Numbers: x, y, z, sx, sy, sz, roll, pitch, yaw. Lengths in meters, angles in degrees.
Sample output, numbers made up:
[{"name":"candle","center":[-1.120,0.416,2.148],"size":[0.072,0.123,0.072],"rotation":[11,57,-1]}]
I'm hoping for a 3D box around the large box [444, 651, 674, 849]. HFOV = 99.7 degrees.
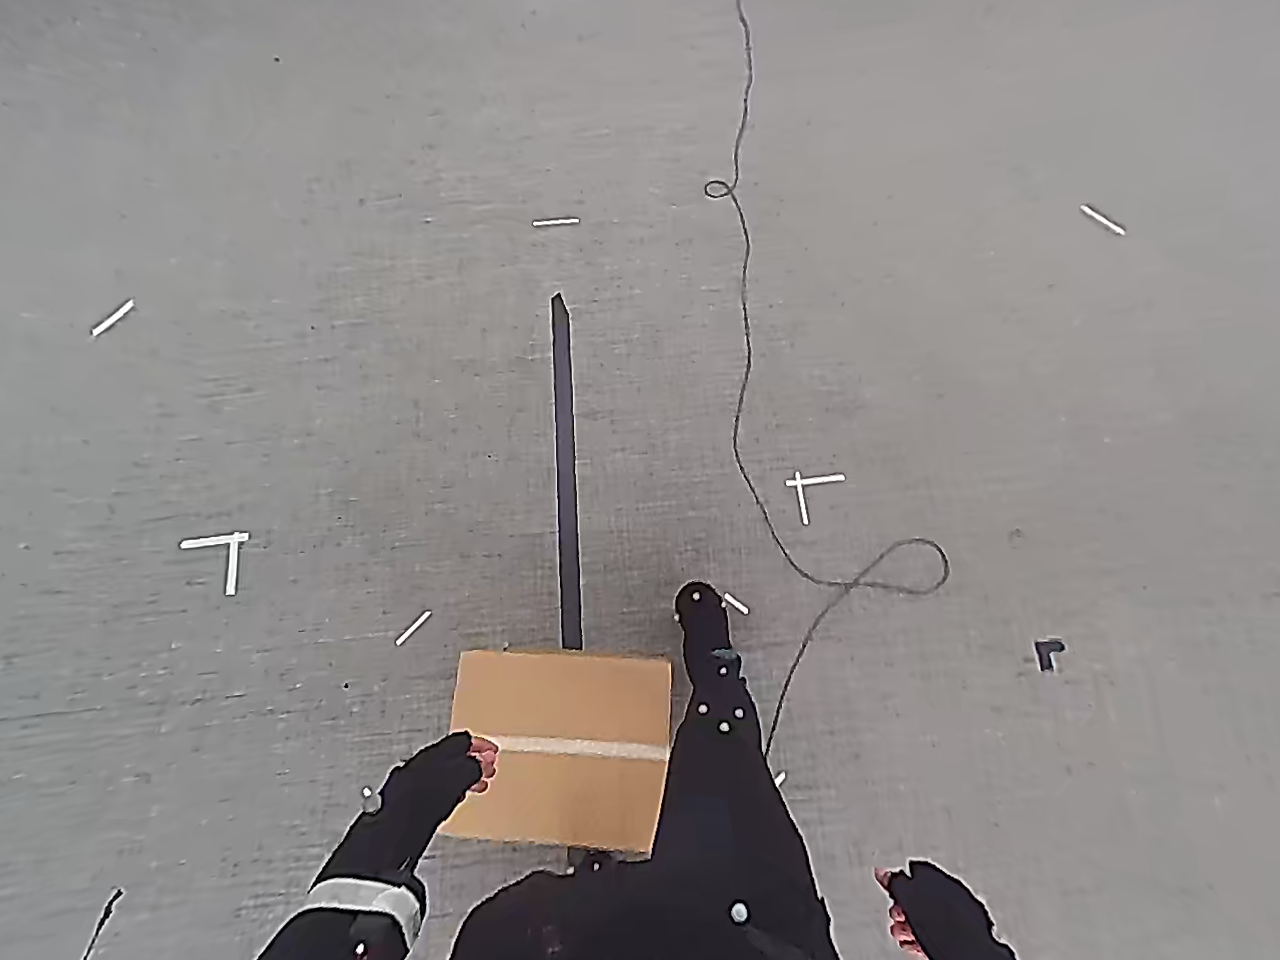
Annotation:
[{"name":"large box","center":[-0.139,0.524,1.121],"size":[0.408,0.320,0.320],"rotation":[3,75,2]}]
